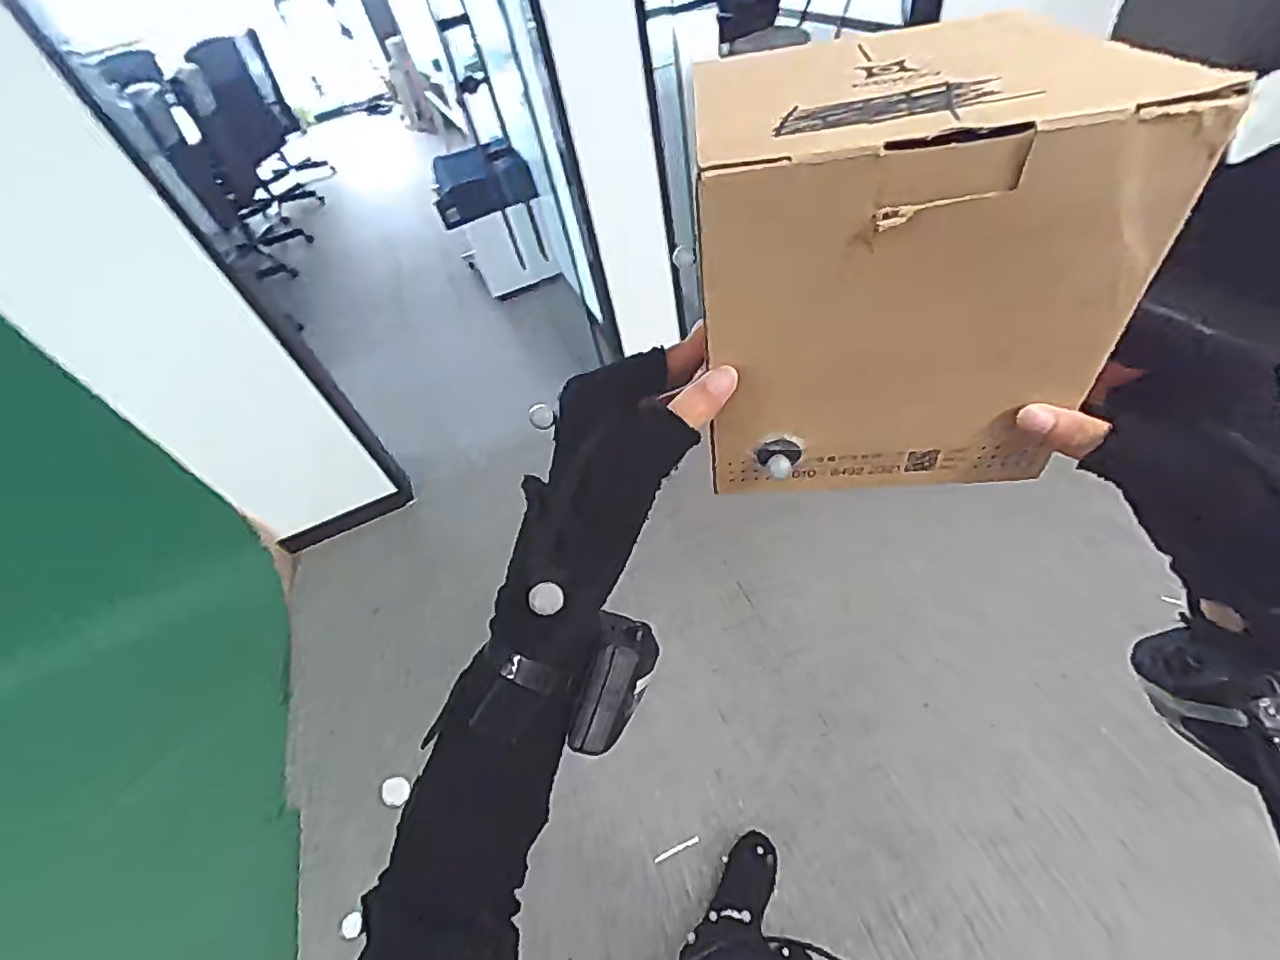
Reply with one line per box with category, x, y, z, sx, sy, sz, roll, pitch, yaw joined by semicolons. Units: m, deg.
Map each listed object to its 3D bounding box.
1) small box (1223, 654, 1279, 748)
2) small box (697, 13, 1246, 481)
small box;1.413;0.453;1.136;0.179;0.176;0.168;-24;49;-7
small box;0.118;-0.111;0.285;0.168;0.176;0.179;-3;46;8
